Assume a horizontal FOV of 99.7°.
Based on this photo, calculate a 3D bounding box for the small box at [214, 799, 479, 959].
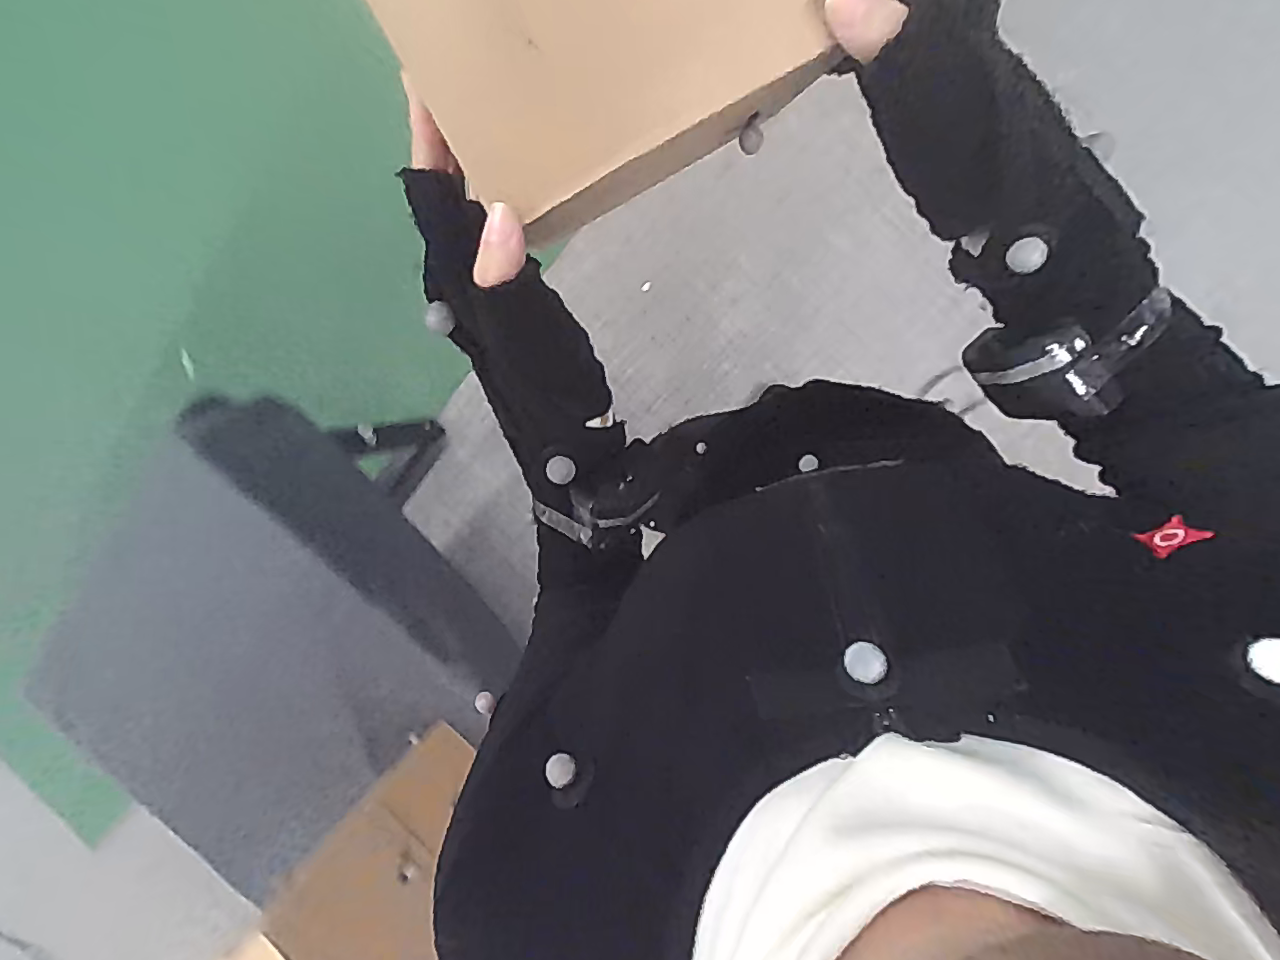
[{"bbox_3d":[-0.322,0.502,0.610,0.179,0.176,0.168,44,105,1],"label":"small box"}]

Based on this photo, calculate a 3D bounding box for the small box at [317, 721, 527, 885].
[{"bbox_3d":[-0.297,0.477,0.767,0.179,0.176,0.168,46,107,0],"label":"small box"}]
